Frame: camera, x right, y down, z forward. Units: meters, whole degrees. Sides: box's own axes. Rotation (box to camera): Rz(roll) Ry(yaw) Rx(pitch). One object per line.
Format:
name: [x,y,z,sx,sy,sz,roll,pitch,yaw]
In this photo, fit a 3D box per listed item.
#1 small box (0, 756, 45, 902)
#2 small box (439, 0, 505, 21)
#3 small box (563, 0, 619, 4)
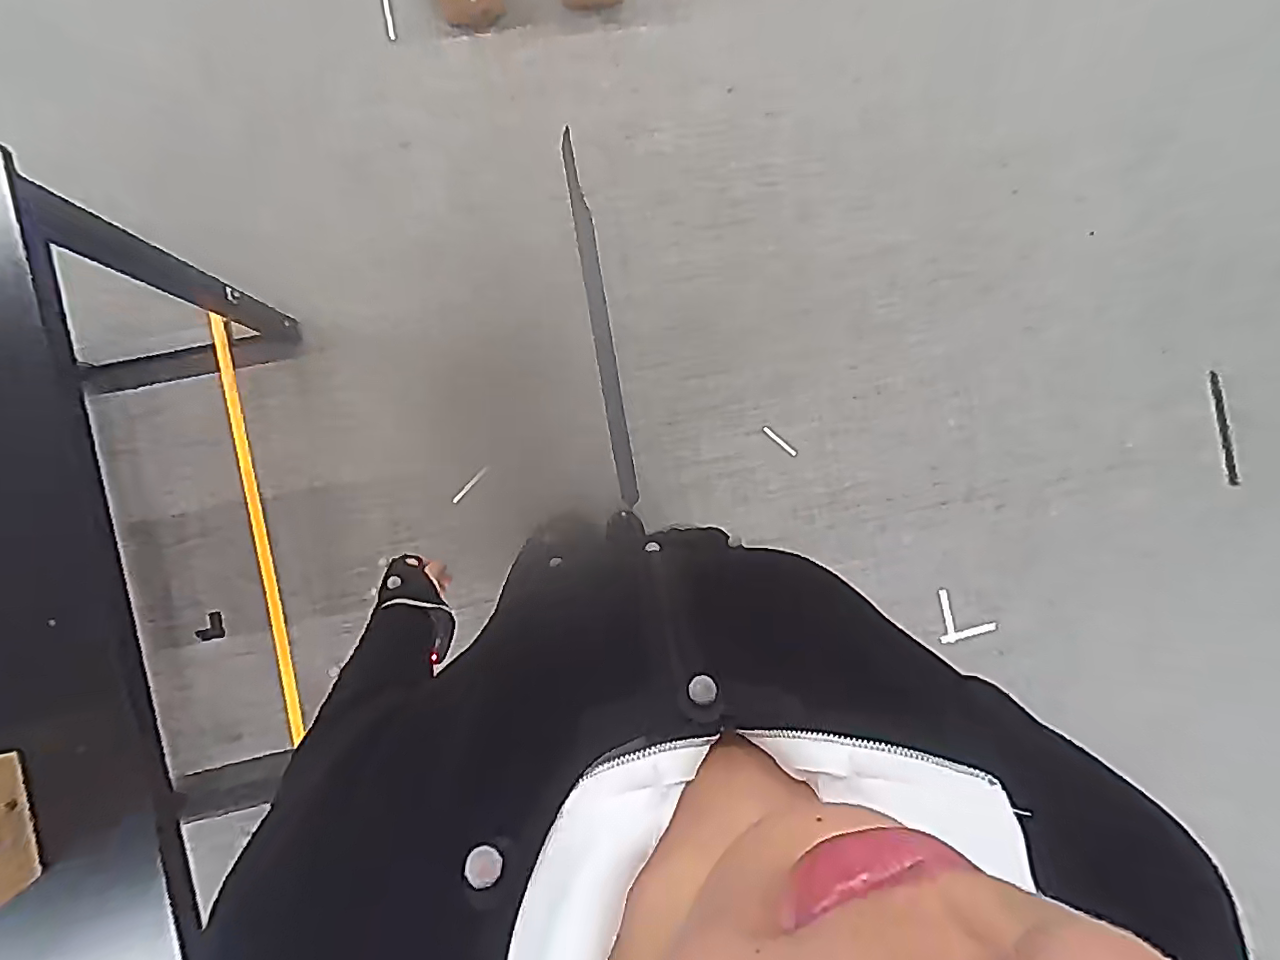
small box: [-0.851,0.442,0.605,0.179,0.176,0.168,-10,91,-5]
small box: [-0.452,-1.311,1.365,0.168,0.176,0.179,-17,92,-5]
small box: [-0.132,-1.381,1.397,0.179,0.176,0.168,-8,92,-7]
